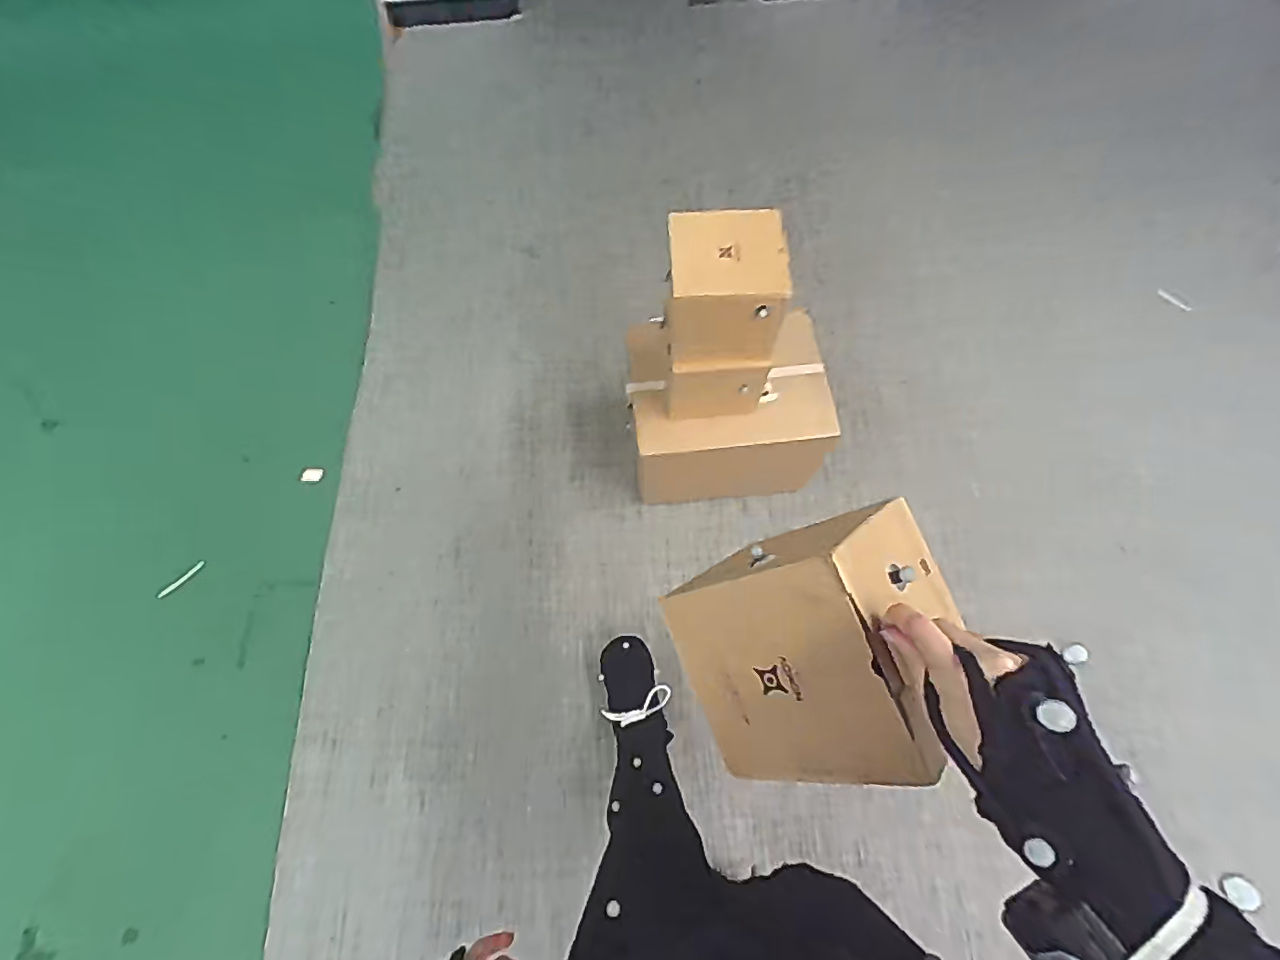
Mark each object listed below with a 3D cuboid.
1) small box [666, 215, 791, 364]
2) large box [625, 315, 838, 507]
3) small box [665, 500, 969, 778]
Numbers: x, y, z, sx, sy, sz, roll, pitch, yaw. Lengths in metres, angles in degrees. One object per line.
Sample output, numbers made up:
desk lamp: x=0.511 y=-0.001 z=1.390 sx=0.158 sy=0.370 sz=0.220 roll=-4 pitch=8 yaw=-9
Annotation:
small box: x=0.133 y=-0.305 z=0.889 sx=0.179 sy=0.176 sz=0.168 roll=-2 pitch=68 yaw=0
large box: x=0.184 y=-0.146 z=1.263 sx=0.408 sy=0.320 sz=0.320 roll=-6 pitch=69 yaw=-2
small box: x=0.160 y=0.131 z=0.474 sx=0.176 sy=0.179 sz=0.168 roll=-17 pitch=81 yaw=-46
